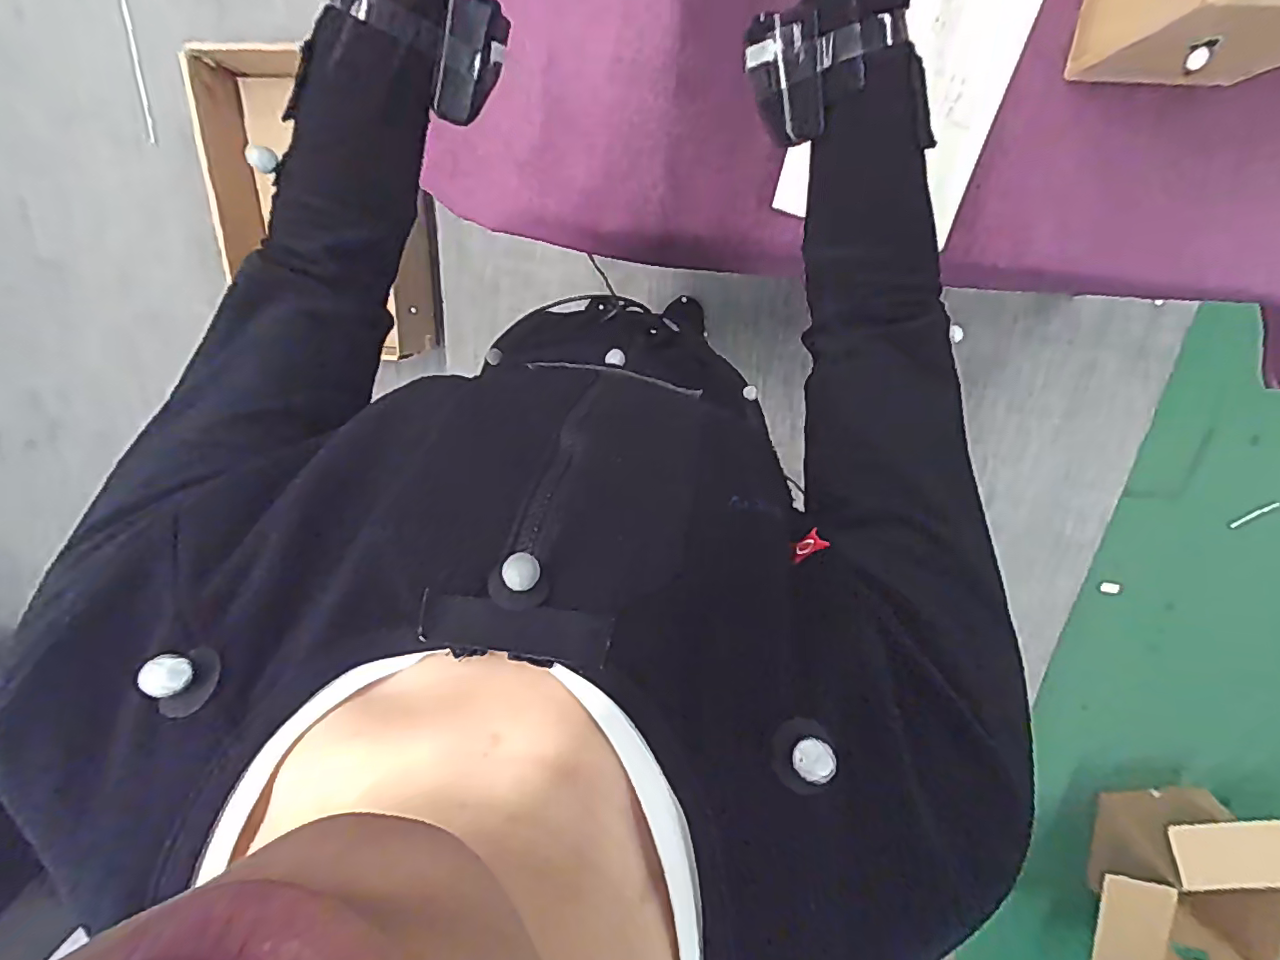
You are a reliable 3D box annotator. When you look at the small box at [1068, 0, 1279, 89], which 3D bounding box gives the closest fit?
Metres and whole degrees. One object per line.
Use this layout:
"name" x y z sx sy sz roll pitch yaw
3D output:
"small box" 0.511 -0.456 0.452 0.168 0.176 0.179 4 109 3
